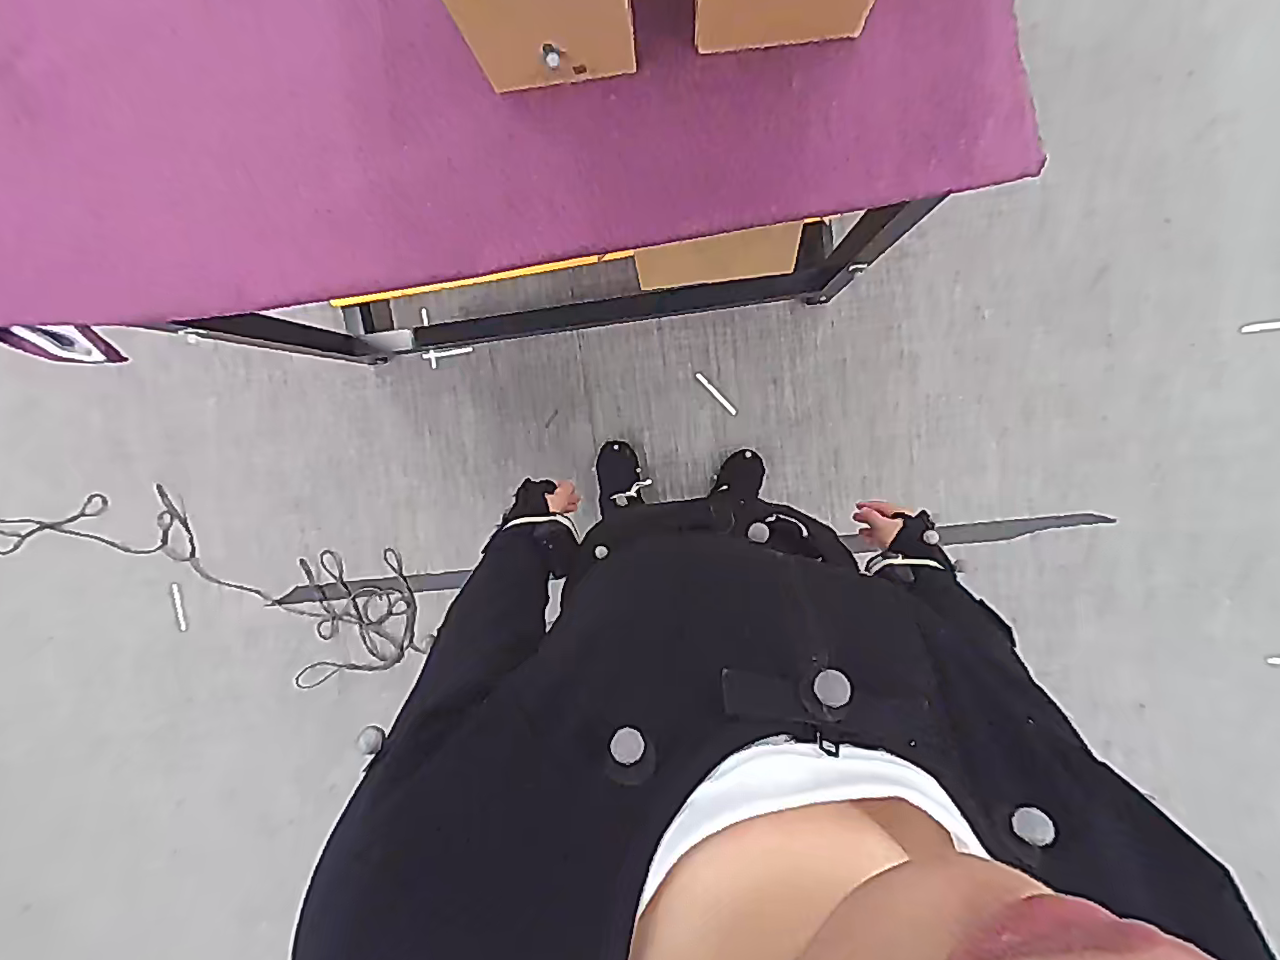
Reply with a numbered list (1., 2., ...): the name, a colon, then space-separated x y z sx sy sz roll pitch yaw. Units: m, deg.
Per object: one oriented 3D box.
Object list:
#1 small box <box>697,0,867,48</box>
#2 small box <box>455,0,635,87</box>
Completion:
1. small box: 0.141 -0.548 0.501 0.179 0.176 0.168 -2 95 6
2. small box: -0.098 -0.530 0.522 0.168 0.176 0.179 -4 96 6
